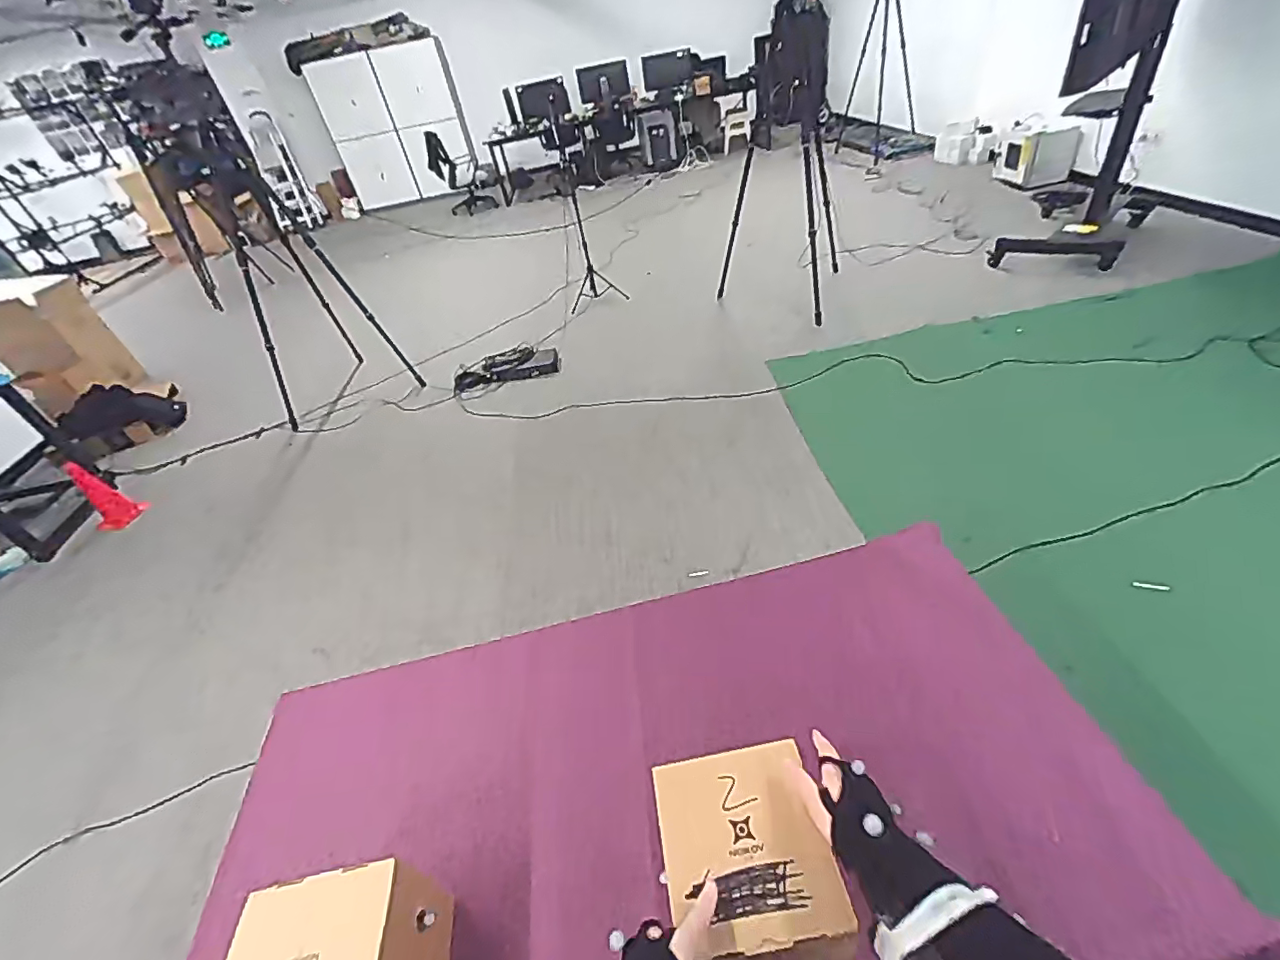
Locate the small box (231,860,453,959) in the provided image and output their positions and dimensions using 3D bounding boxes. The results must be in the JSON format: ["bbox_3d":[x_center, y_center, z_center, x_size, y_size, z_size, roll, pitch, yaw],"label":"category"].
[{"bbox_3d":[-0.313,0.545,0.572,0.168,0.176,0.179,-14,40,0],"label":"small box"}]
